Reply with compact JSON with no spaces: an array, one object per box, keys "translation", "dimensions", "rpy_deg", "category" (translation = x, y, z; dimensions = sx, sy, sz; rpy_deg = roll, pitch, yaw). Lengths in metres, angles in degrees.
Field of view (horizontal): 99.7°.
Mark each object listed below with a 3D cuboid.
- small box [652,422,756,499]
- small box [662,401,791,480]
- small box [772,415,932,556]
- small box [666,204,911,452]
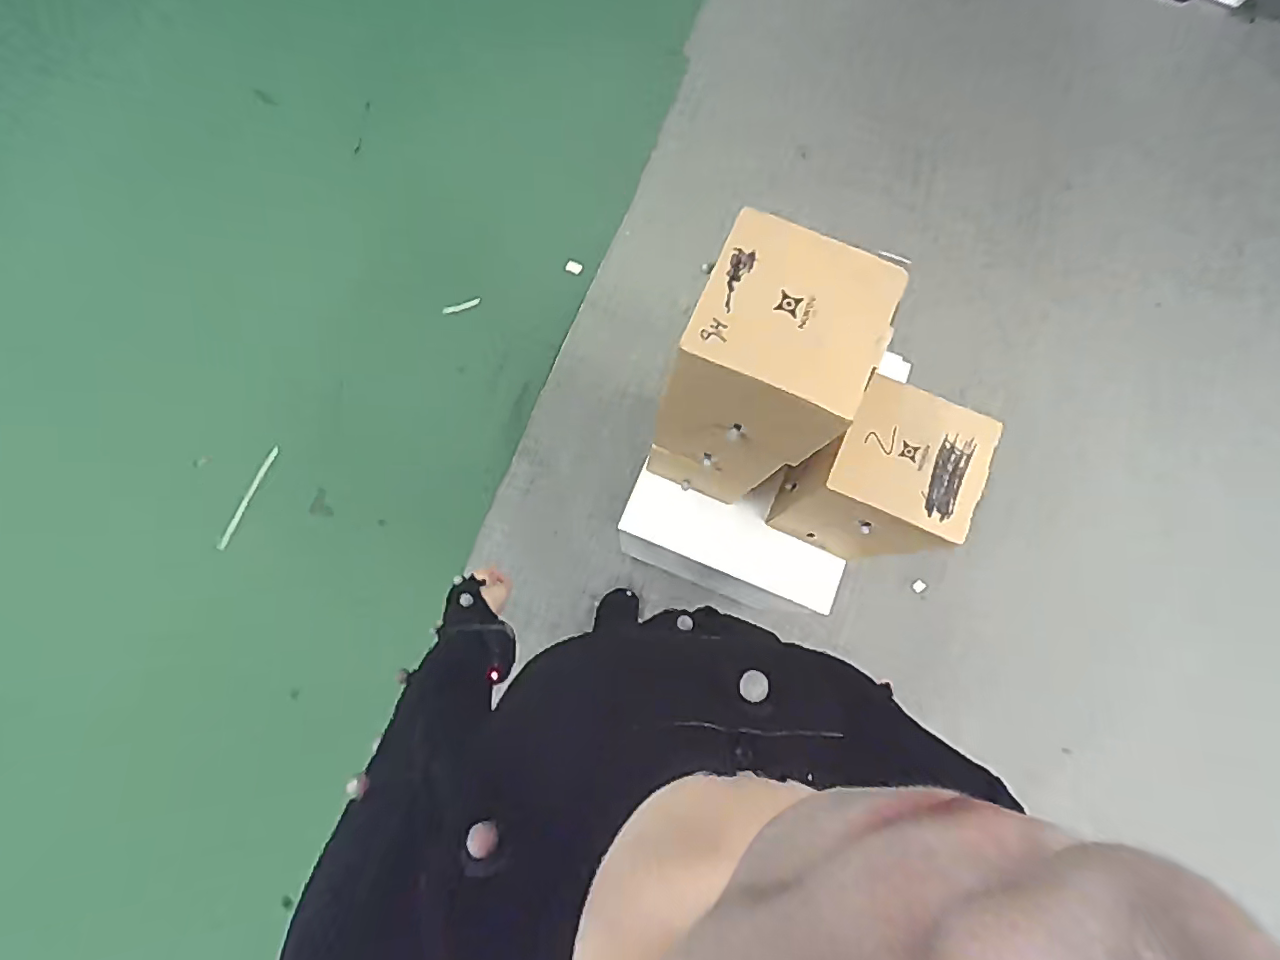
[{"translation":[0.126,-0.085,0.903],"dimensions":[0.168,0.176,0.179],"rpy_deg":[23,80,3],"category":"small box"},{"translation":[0.137,-0.120,0.743],"dimensions":[0.168,0.176,0.179],"rpy_deg":[24,79,3],"category":"small box"},{"translation":[0.336,0.011,0.889],"dimensions":[0.168,0.176,0.179],"rpy_deg":[24,79,4],"category":"small box"},{"translation":[0.143,-0.144,0.579],"dimensions":[0.179,0.176,0.168],"rpy_deg":[25,78,2],"category":"small box"}]
